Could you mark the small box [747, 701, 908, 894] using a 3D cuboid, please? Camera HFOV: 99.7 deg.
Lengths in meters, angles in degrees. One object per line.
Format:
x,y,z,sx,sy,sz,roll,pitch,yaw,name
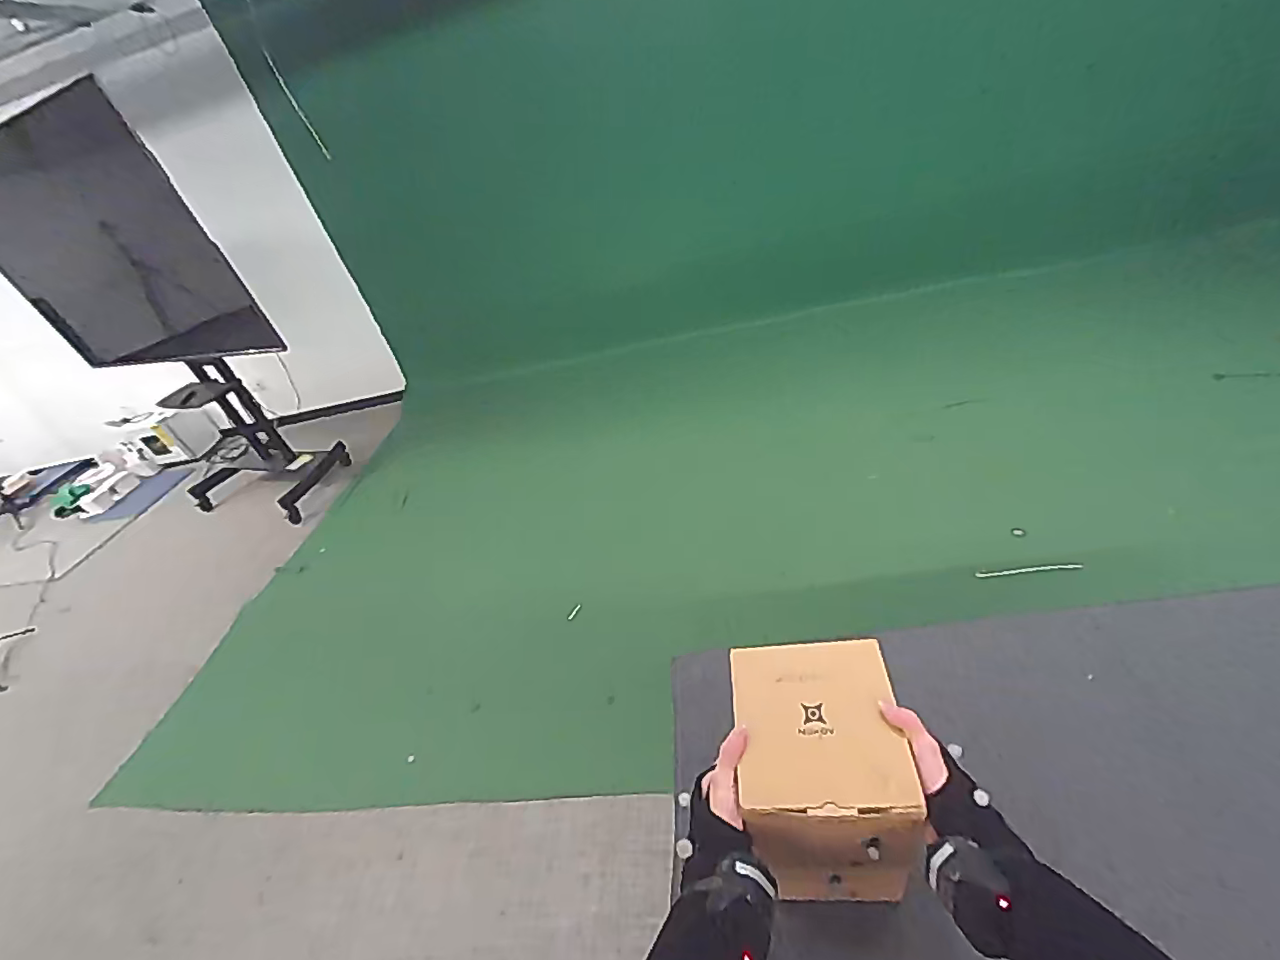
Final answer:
0.237,0.418,0.710,0.168,0.176,0.179,-8,37,11,small box
